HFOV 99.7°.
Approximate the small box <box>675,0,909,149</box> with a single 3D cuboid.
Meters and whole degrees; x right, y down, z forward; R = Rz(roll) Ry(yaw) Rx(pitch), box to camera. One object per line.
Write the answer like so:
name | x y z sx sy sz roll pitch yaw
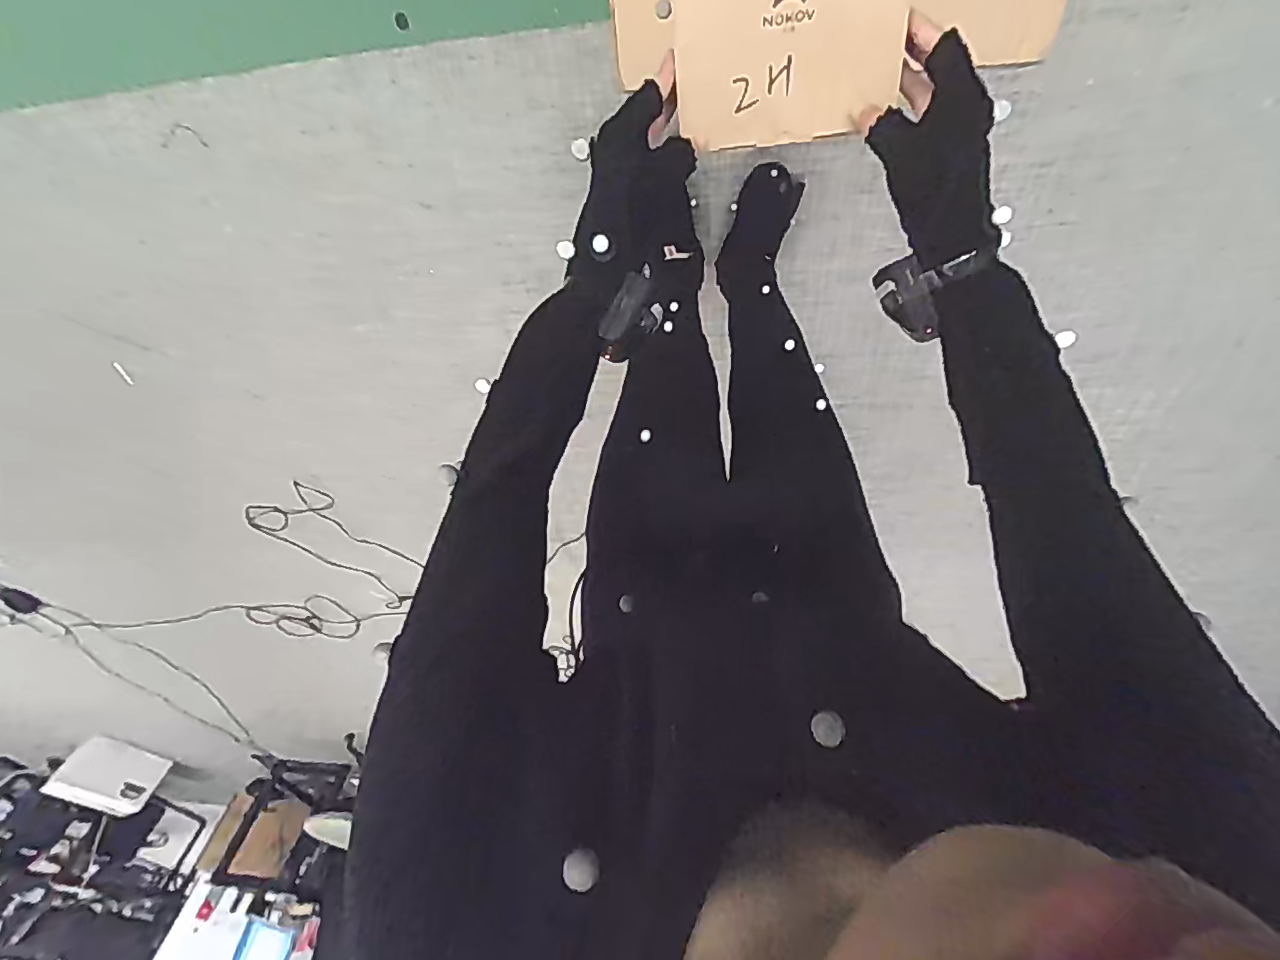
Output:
small box | 0.116 -0.388 0.445 0.168 0.176 0.179 0 126 11
